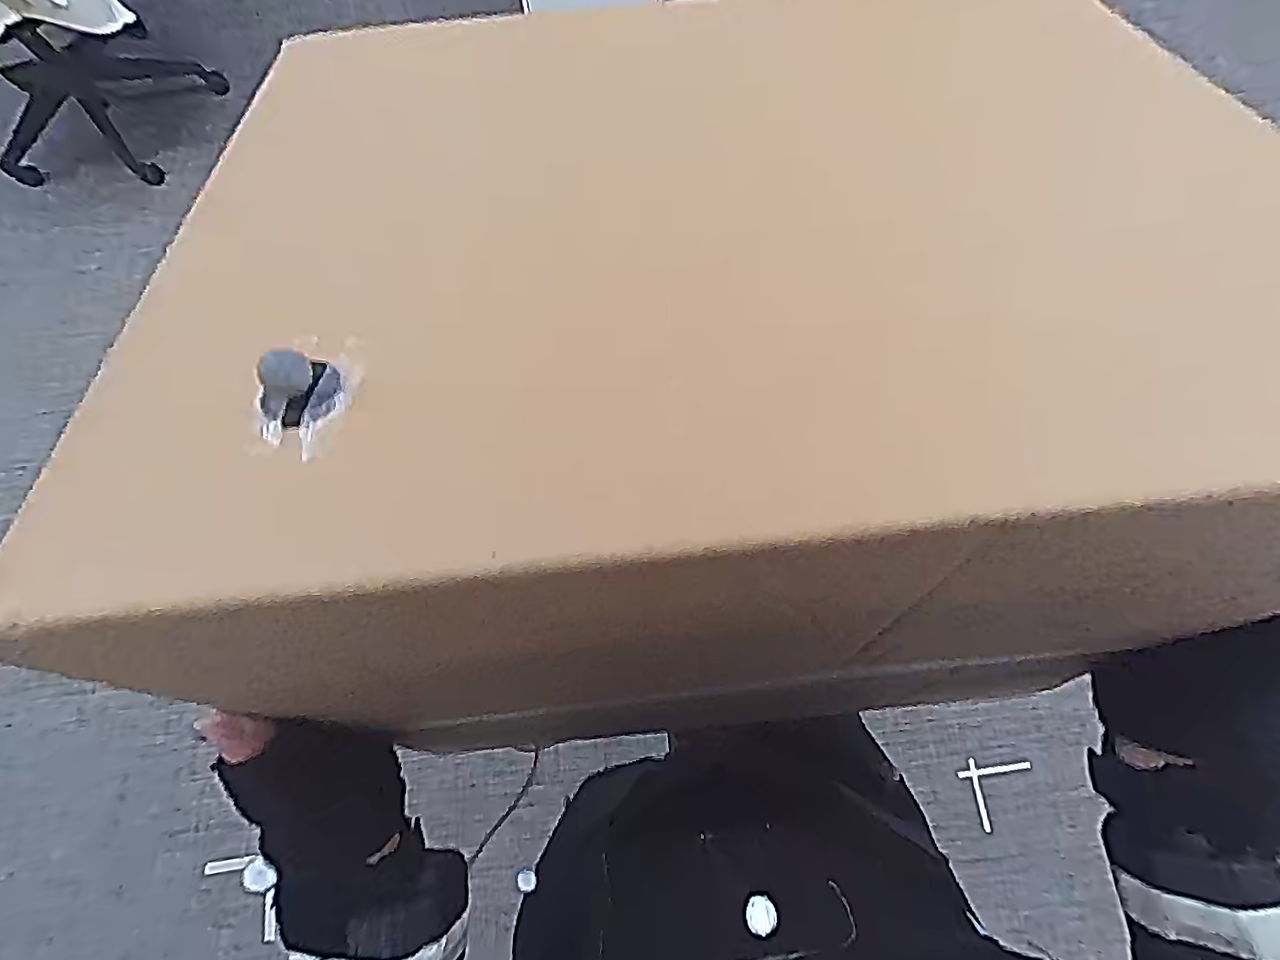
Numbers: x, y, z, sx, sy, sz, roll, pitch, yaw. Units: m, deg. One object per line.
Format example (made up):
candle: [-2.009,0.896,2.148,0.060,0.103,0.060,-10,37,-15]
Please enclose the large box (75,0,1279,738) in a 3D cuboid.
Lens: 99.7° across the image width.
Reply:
large box: [0.042,-0.044,0.340,0.408,0.320,0.320,-6,59,0]
